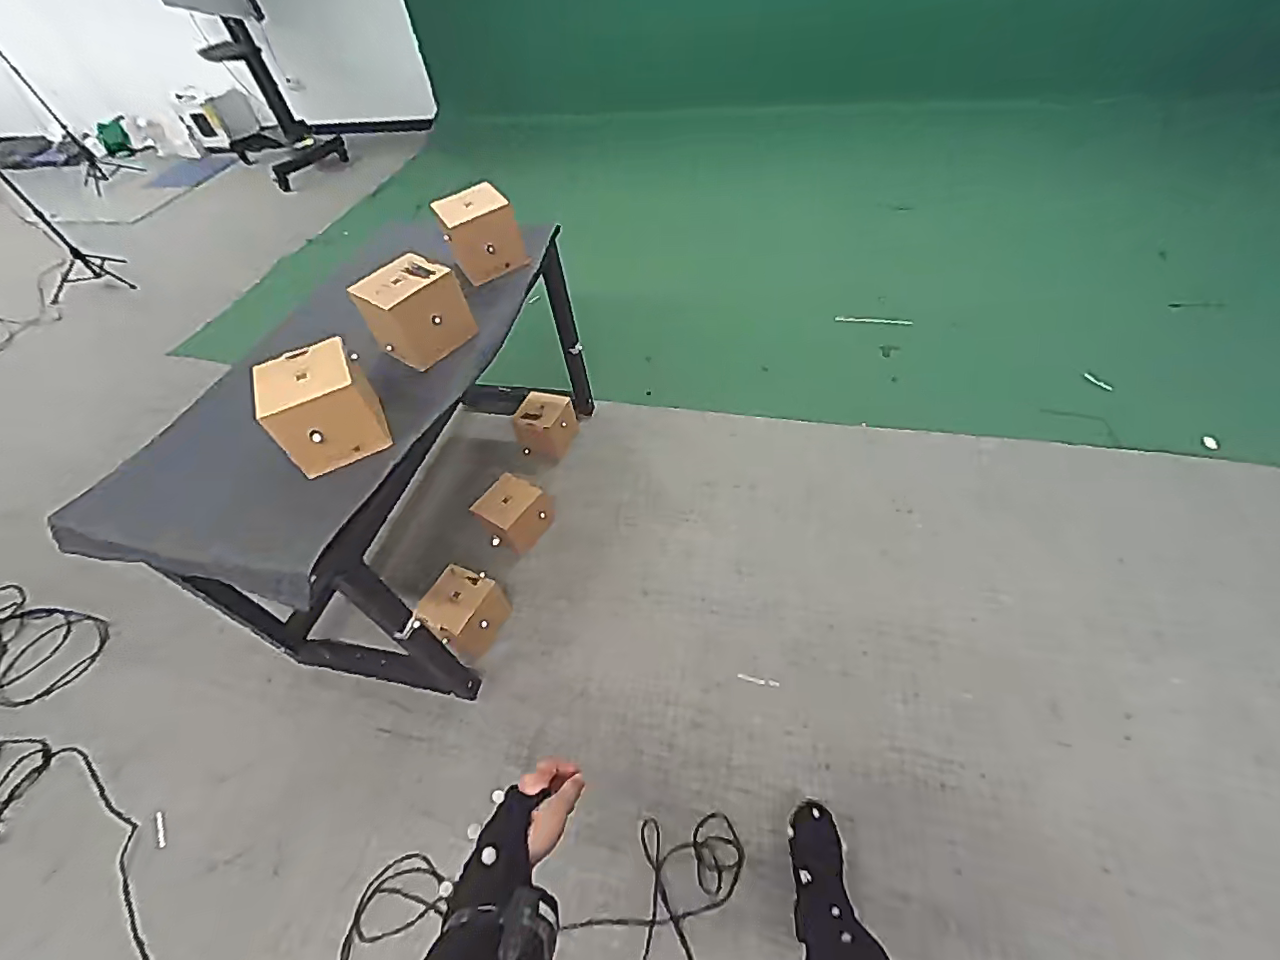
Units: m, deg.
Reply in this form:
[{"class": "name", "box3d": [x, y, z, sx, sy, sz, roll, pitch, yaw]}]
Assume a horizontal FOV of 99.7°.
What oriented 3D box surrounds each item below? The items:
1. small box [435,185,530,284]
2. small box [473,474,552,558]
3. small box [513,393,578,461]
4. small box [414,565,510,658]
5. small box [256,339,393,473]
[{"class": "small box", "box3d": [-0.416, -0.650, 1.444, 0.168, 0.176, 0.179, -29, 52, -12]}, {"class": "small box", "box3d": [-0.404, 0.120, 1.760, 0.168, 0.176, 0.179, 24, 59, 26]}, {"class": "small box", "box3d": [-0.343, -0.194, 2.012, 0.168, 0.176, 0.179, 12, 52, 16]}, {"class": "small box", "box3d": [-0.501, 0.382, 1.554, 0.168, 0.176, 0.179, 18, 55, 20]}, {"class": "small box", "box3d": [-0.605, -0.136, 1.049, 0.168, 0.176, 0.179, -26, 52, -14]}]
